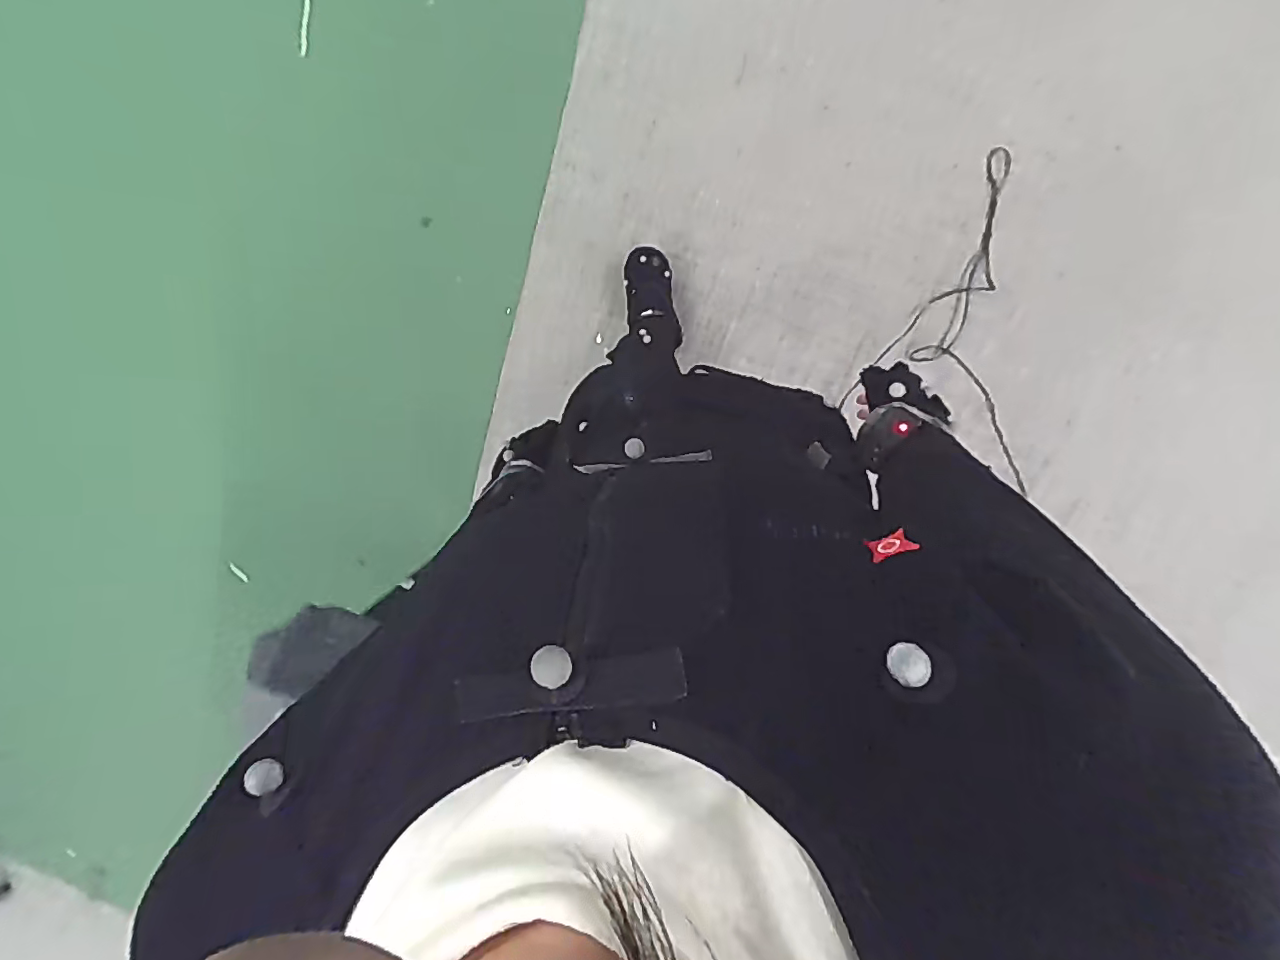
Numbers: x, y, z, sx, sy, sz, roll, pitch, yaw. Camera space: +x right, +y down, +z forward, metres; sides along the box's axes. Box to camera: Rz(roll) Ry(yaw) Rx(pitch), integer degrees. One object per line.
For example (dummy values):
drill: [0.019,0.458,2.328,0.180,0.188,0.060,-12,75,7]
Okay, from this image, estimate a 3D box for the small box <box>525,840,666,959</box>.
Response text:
small box: [-0.069,0.691,0.811,0.179,0.176,0.168,19,107,5]
